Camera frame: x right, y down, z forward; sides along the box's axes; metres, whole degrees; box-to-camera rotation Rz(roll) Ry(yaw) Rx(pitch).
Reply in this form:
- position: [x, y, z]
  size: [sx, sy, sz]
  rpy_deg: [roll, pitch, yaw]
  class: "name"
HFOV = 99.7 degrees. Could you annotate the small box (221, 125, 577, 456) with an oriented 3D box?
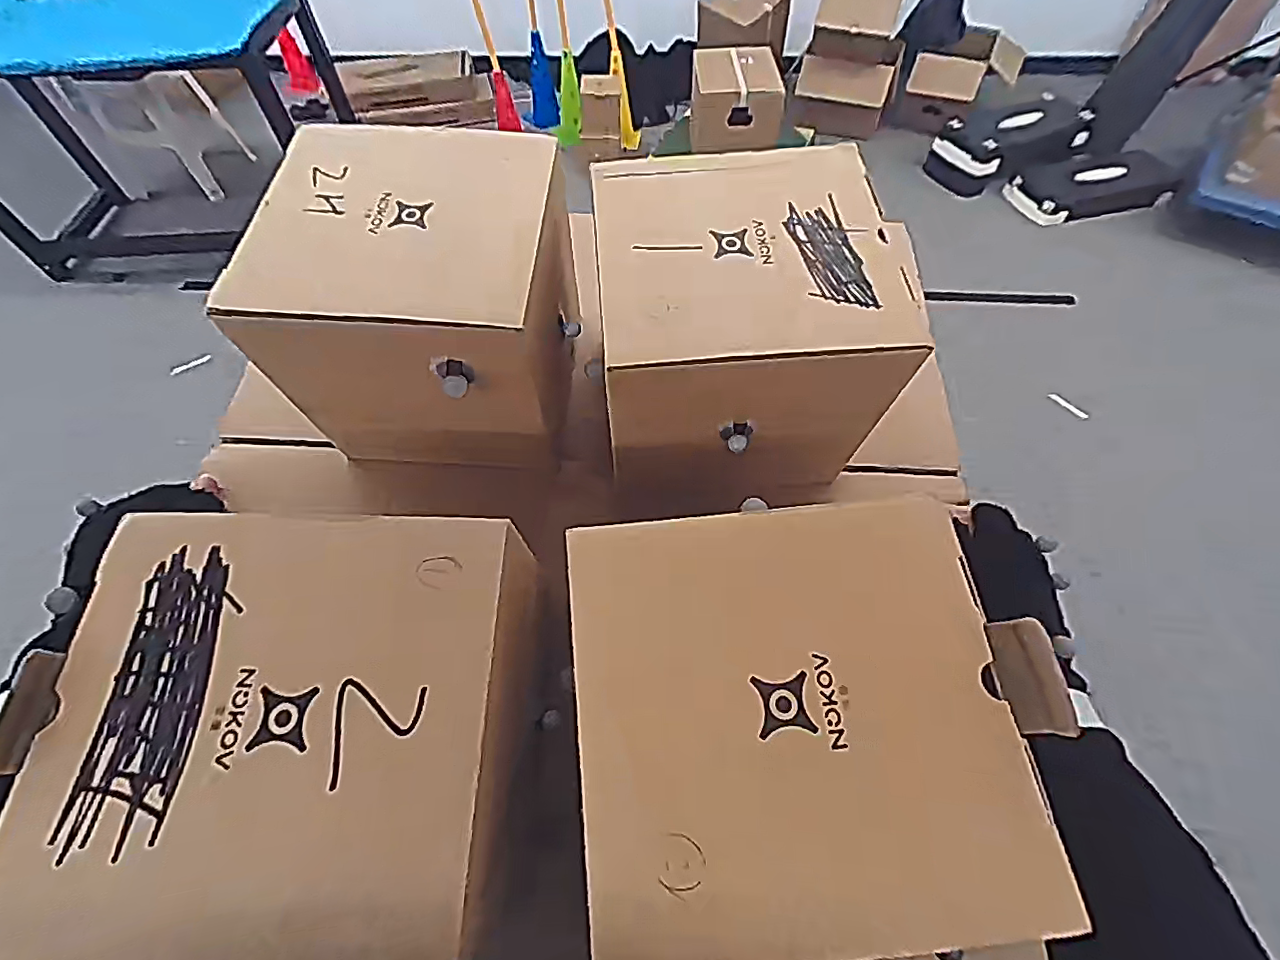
- position: [-0.146, -0.129, 0.410]
  size: [0.179, 0.176, 0.168]
  rpy_deg: [4, 64, 1]
  class: "small box"
